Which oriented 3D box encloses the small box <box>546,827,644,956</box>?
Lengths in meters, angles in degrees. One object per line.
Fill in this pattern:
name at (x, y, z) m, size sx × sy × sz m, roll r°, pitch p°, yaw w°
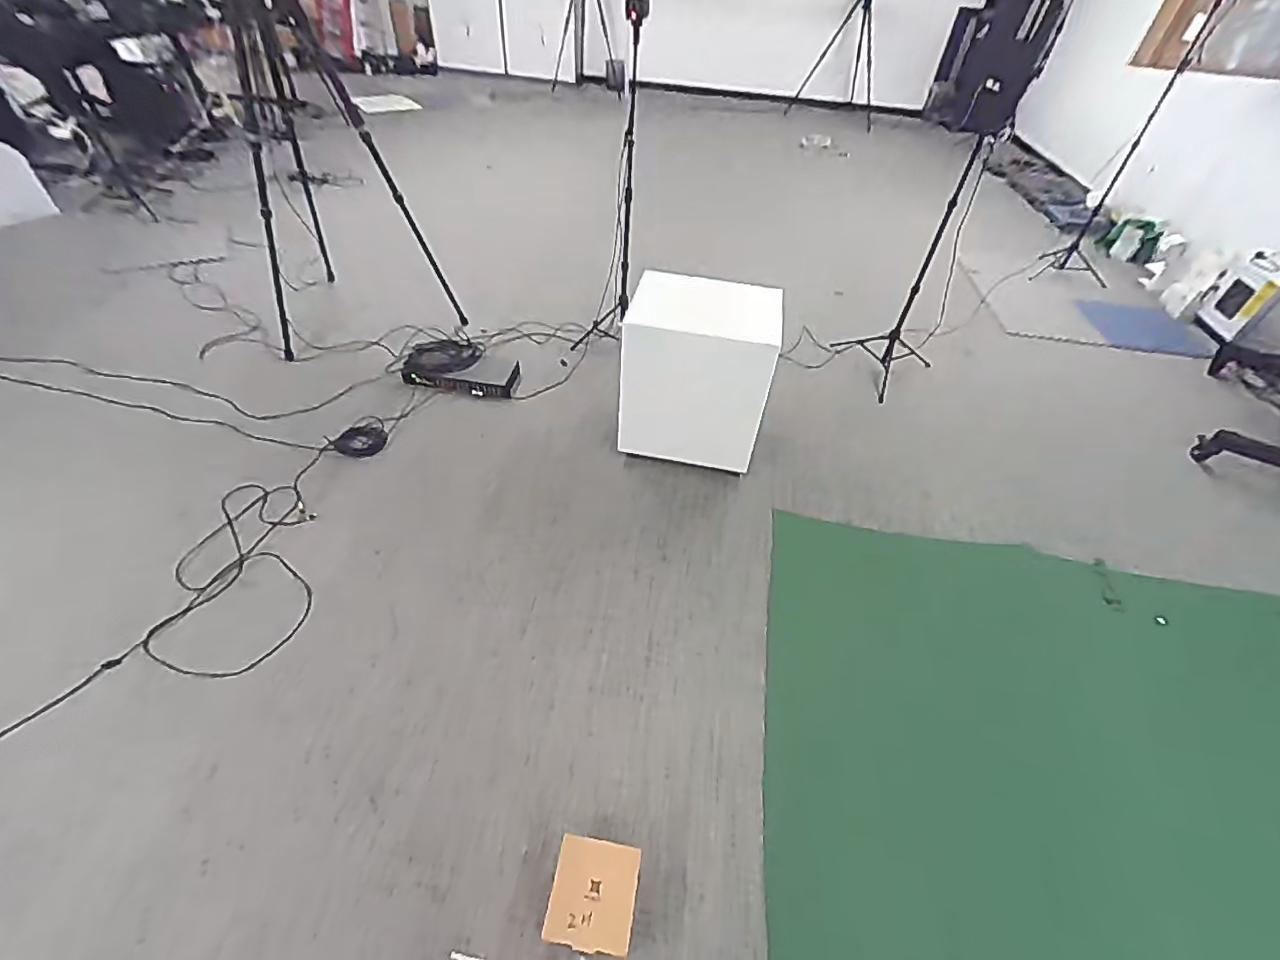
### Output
small box at (-0.090, 0.860, 1.128) m, size 0.168 × 0.176 × 0.179 m, roll 9°, pitch 46°, yaw 5°
